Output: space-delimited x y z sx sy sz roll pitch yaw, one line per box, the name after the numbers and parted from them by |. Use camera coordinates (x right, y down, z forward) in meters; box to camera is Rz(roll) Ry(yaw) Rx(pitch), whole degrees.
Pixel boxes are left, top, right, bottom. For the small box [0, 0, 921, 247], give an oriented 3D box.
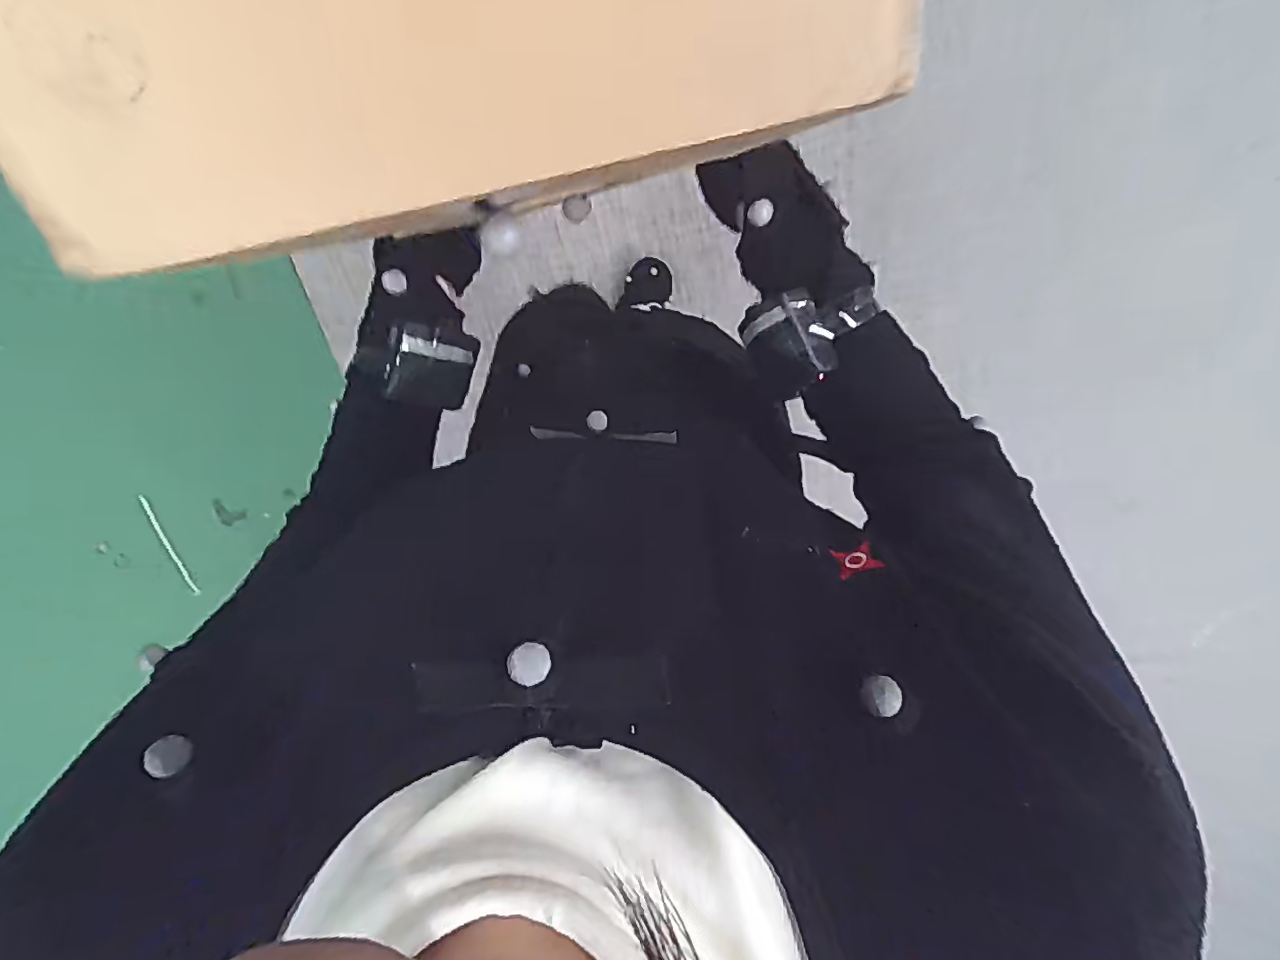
-0.052 -0.168 0.137 0.179 0.176 0.168 -12 119 3 | small box
